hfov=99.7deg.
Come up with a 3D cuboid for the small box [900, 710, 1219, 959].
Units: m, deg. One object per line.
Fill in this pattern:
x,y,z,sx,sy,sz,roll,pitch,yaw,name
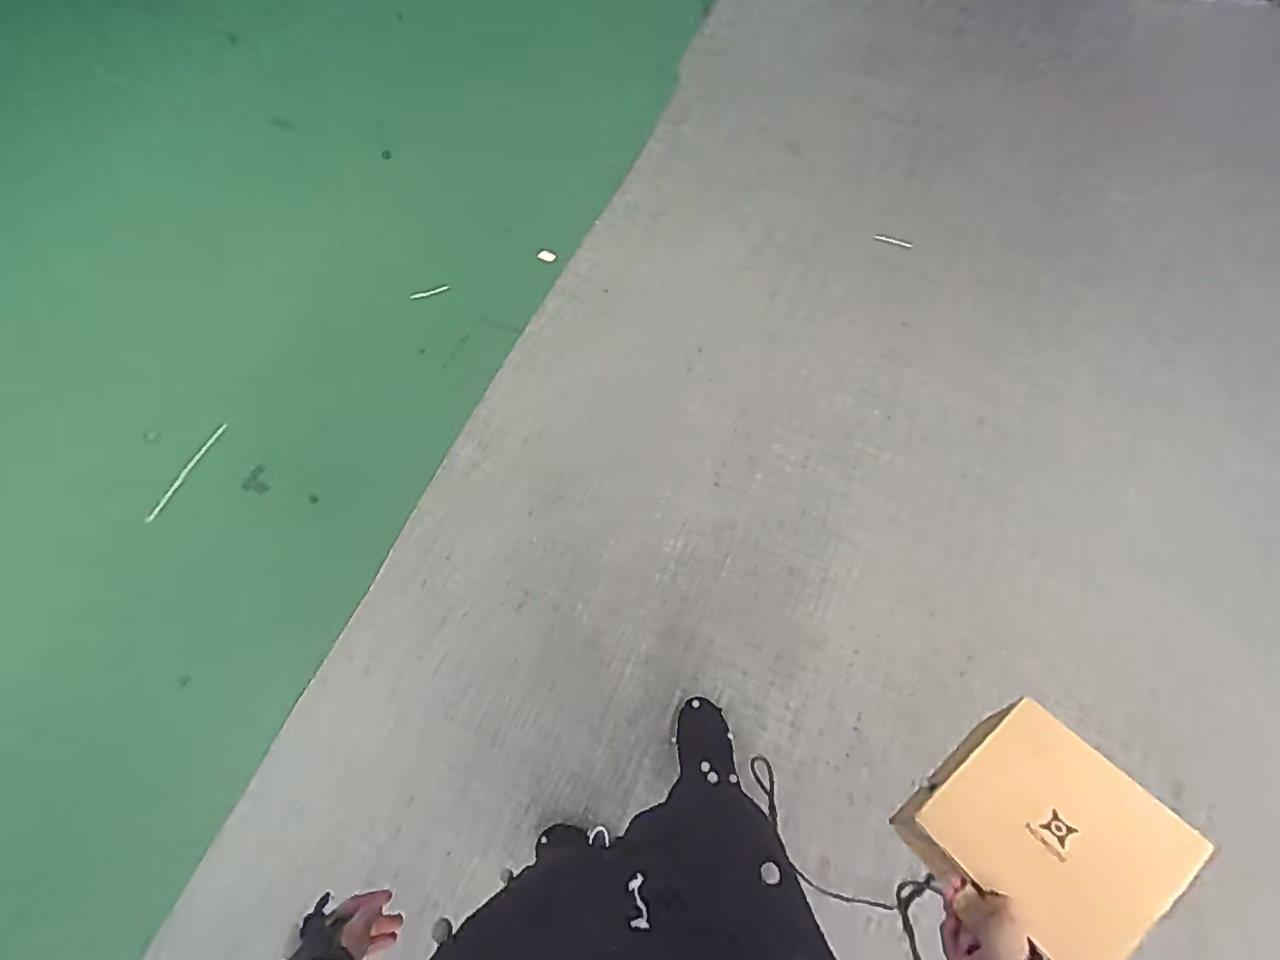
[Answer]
0.393,0.370,0.547,0.179,0.176,0.168,-39,56,-11,small box
